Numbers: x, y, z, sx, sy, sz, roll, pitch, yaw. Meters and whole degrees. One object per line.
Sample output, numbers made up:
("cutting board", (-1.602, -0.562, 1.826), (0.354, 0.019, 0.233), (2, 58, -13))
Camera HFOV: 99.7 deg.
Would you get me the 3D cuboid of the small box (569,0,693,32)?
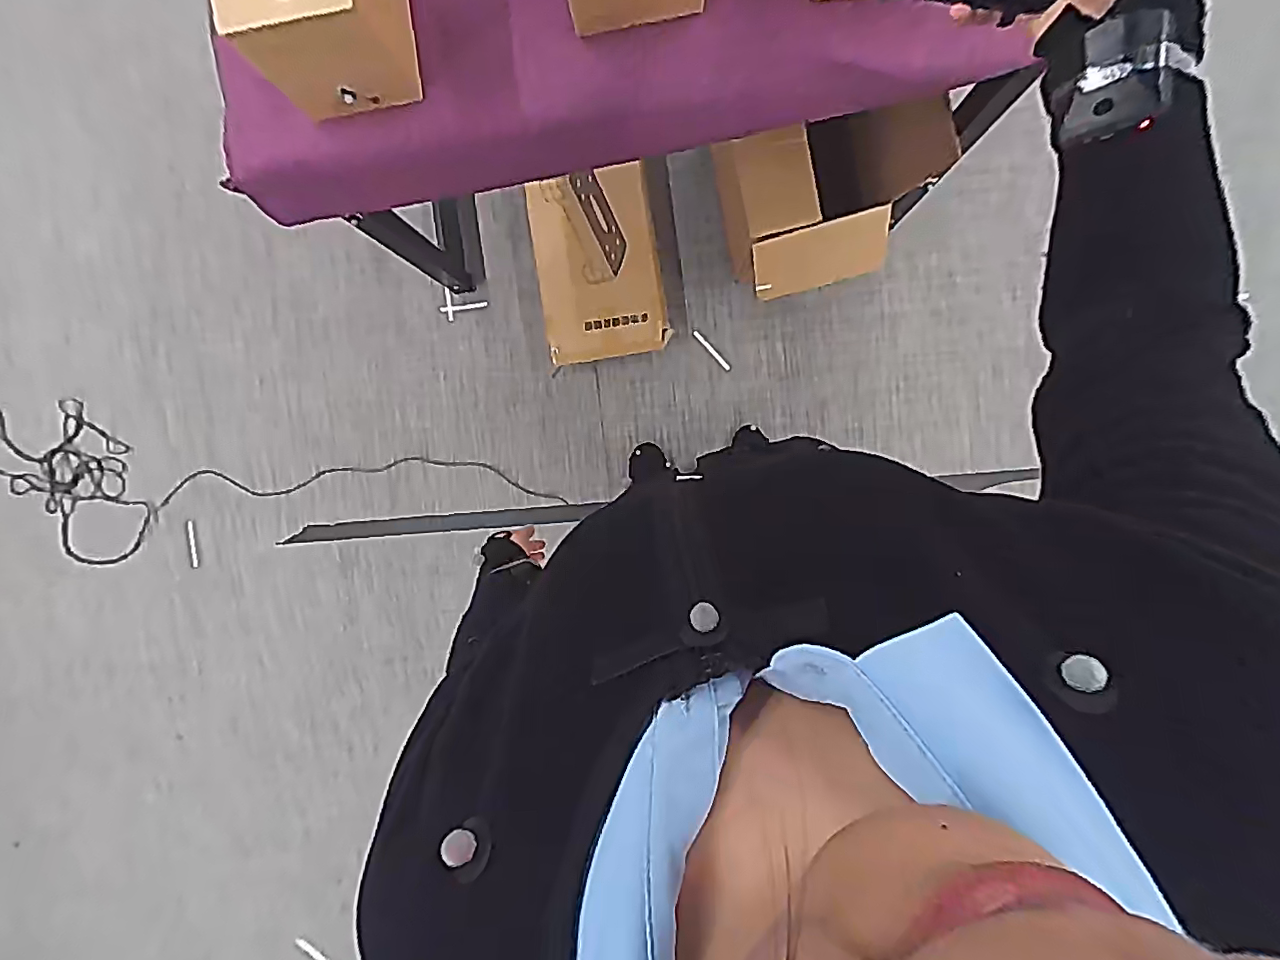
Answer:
("small box", (-0.015, -0.688, 0.640), (0.179, 0.176, 0.168), (-8, 91, 5))
